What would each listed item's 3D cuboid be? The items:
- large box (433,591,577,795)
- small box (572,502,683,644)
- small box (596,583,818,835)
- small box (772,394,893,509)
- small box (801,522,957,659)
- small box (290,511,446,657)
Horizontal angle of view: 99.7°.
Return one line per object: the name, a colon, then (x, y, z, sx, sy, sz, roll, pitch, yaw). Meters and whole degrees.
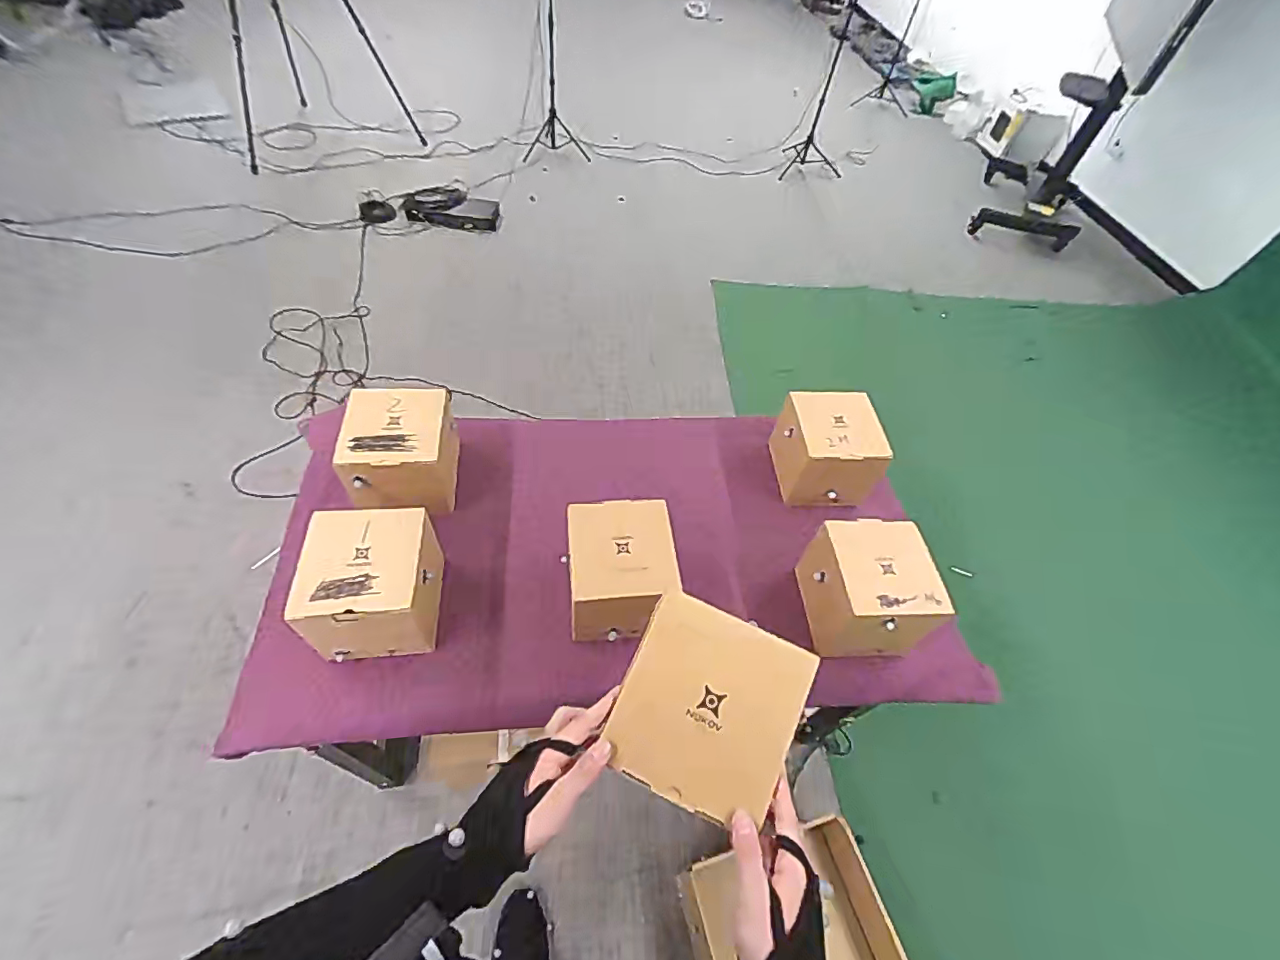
large box: (-0.334, 0.550, 1.408, 0.320, 0.320, 0.408, -2, 52, -10)
small box: (-0.030, 0.157, 0.910, 0.168, 0.176, 0.179, -3, 52, -8)
small box: (0.064, 0.233, 0.587, 0.168, 0.176, 0.179, 24, 74, 6)
small box: (0.387, -0.058, 1.125, 0.168, 0.176, 0.179, -1, 54, -5)
small box: (0.394, 0.191, 0.933, 0.168, 0.176, 0.179, 0, 50, -5)
small box: (-0.410, 0.168, 0.851, 0.168, 0.176, 0.179, -2, 51, -9)
